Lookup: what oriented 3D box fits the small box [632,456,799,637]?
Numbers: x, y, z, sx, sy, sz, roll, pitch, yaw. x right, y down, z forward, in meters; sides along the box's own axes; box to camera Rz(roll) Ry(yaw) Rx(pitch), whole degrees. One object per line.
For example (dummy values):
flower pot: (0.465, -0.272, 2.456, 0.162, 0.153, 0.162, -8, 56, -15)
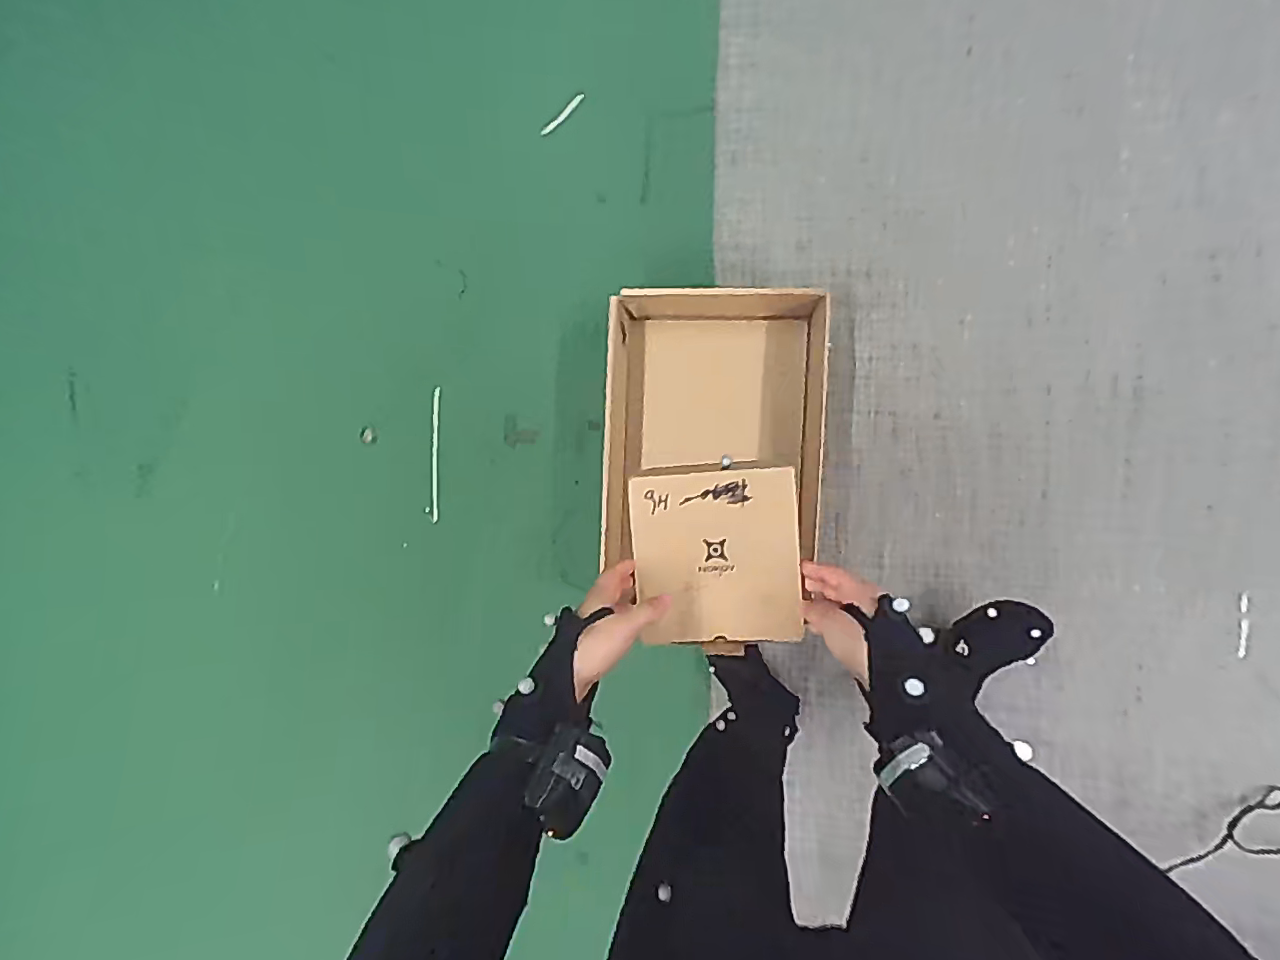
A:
small box: (0.086, 0.066, 0.622, 0.168, 0.176, 0.179, -3, 94, 7)
